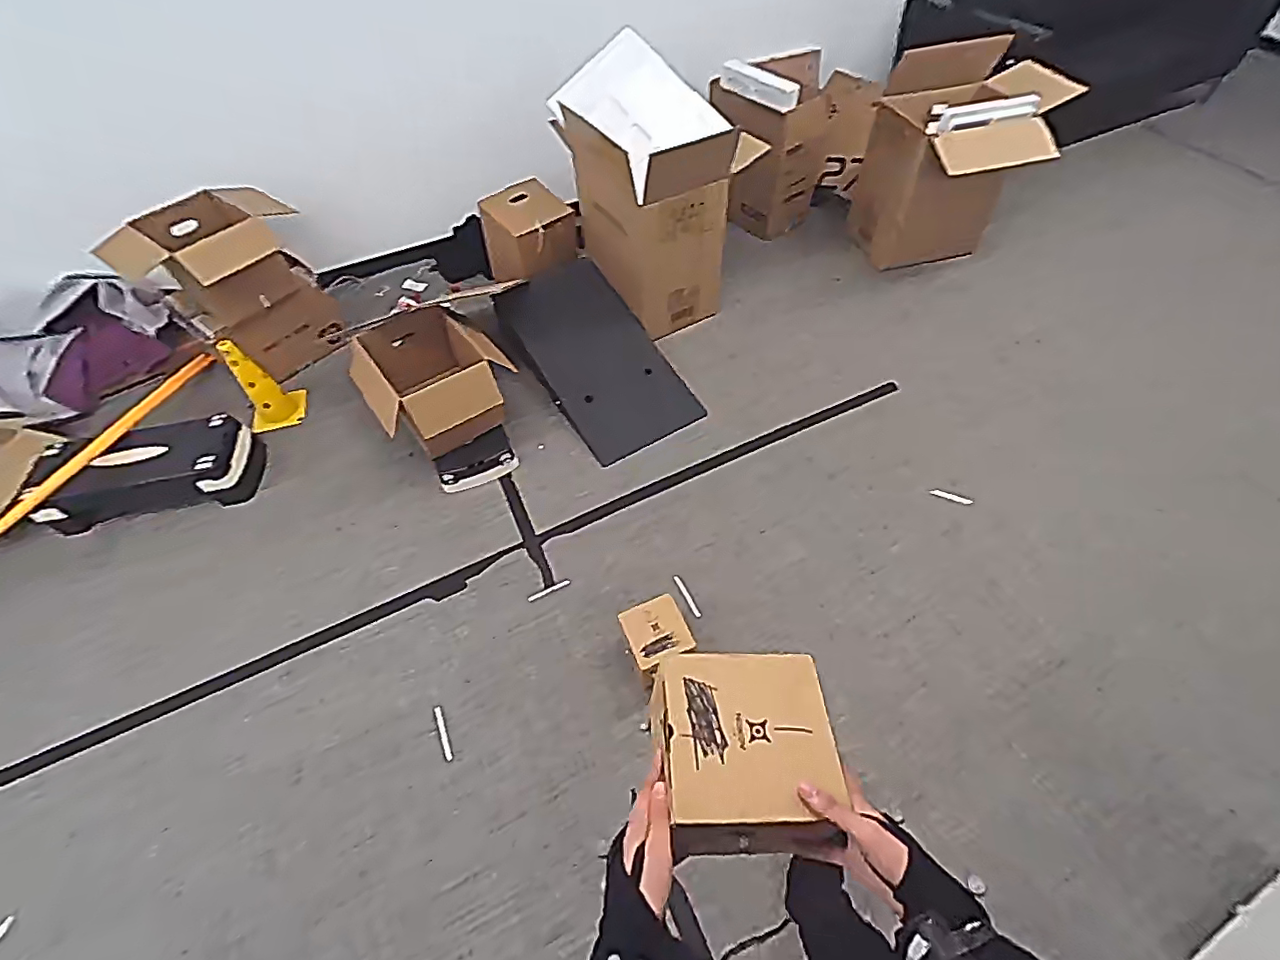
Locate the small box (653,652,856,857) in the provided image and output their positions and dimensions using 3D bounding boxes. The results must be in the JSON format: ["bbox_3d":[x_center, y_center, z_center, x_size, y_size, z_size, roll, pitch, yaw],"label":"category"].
[{"bbox_3d":[0.107,0.308,0.604,0.179,0.176,0.168,2,46,-5],"label":"small box"}]
